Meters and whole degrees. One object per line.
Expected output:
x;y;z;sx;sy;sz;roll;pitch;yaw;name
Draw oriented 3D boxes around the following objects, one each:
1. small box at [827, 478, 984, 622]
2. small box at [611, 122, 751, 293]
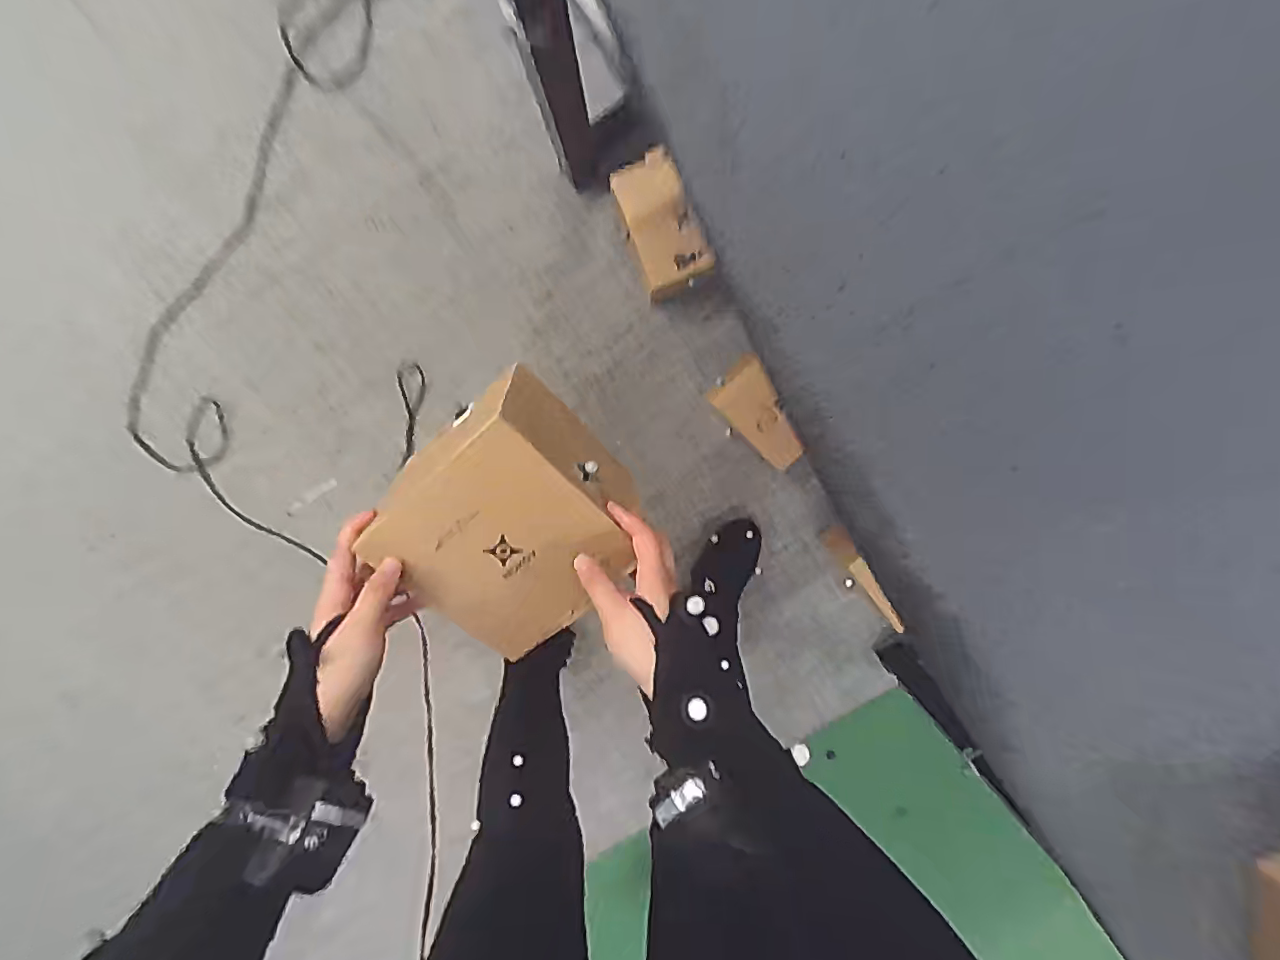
0.470;0.121;0.996;0.179;0.176;0.168;-39;100;7;small box
0.061;-0.429;0.882;0.168;0.176;0.179;-22;100;4;small box
